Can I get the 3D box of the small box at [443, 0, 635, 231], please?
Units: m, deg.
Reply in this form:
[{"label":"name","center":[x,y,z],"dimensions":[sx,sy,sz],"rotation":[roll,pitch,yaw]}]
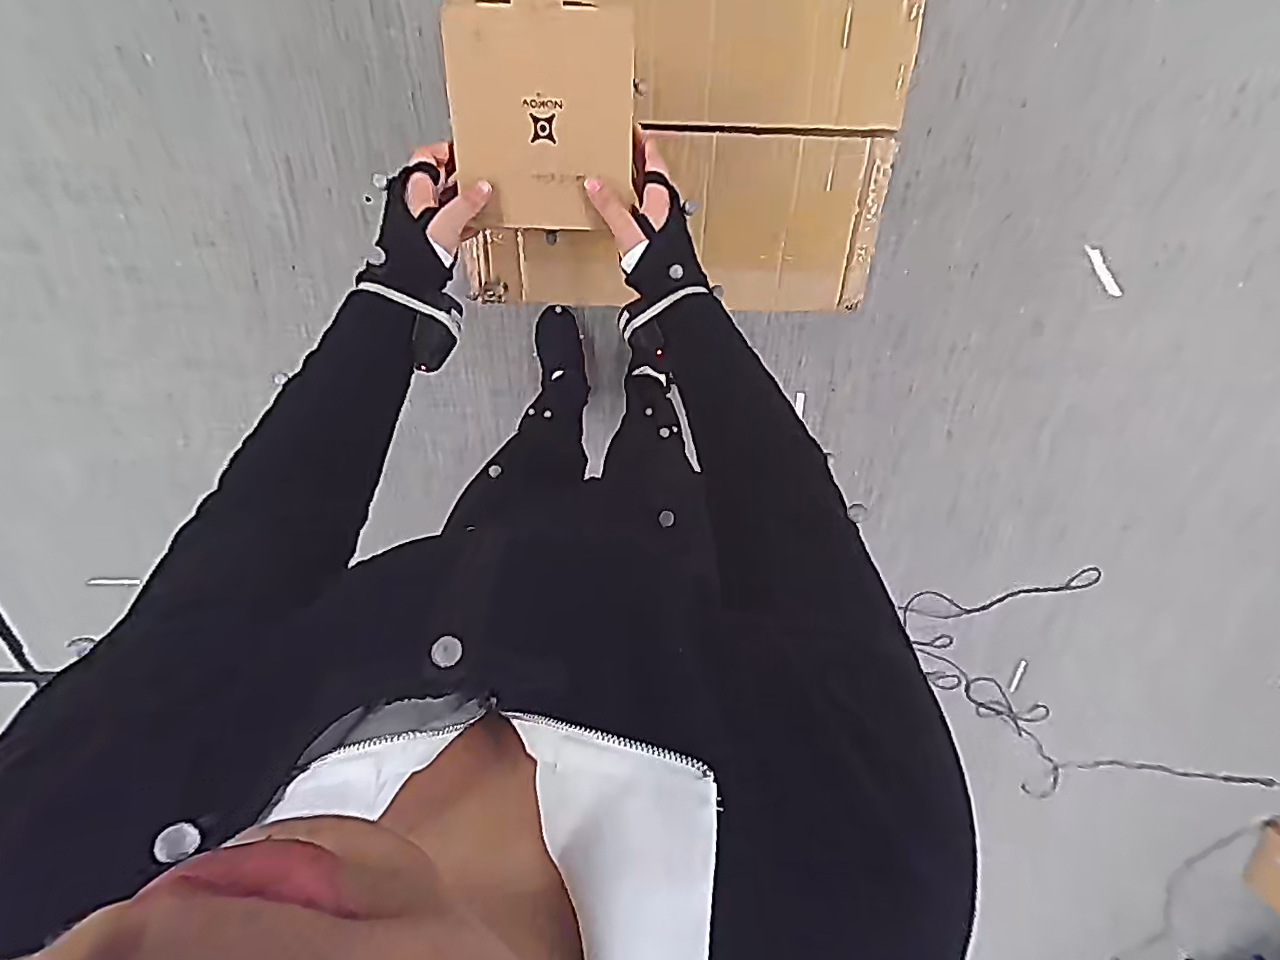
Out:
[{"label":"small box","center":[-0.091,-0.360,0.566],"dimensions":[0.168,0.176,0.179],"rotation":[0,116,-1]}]
